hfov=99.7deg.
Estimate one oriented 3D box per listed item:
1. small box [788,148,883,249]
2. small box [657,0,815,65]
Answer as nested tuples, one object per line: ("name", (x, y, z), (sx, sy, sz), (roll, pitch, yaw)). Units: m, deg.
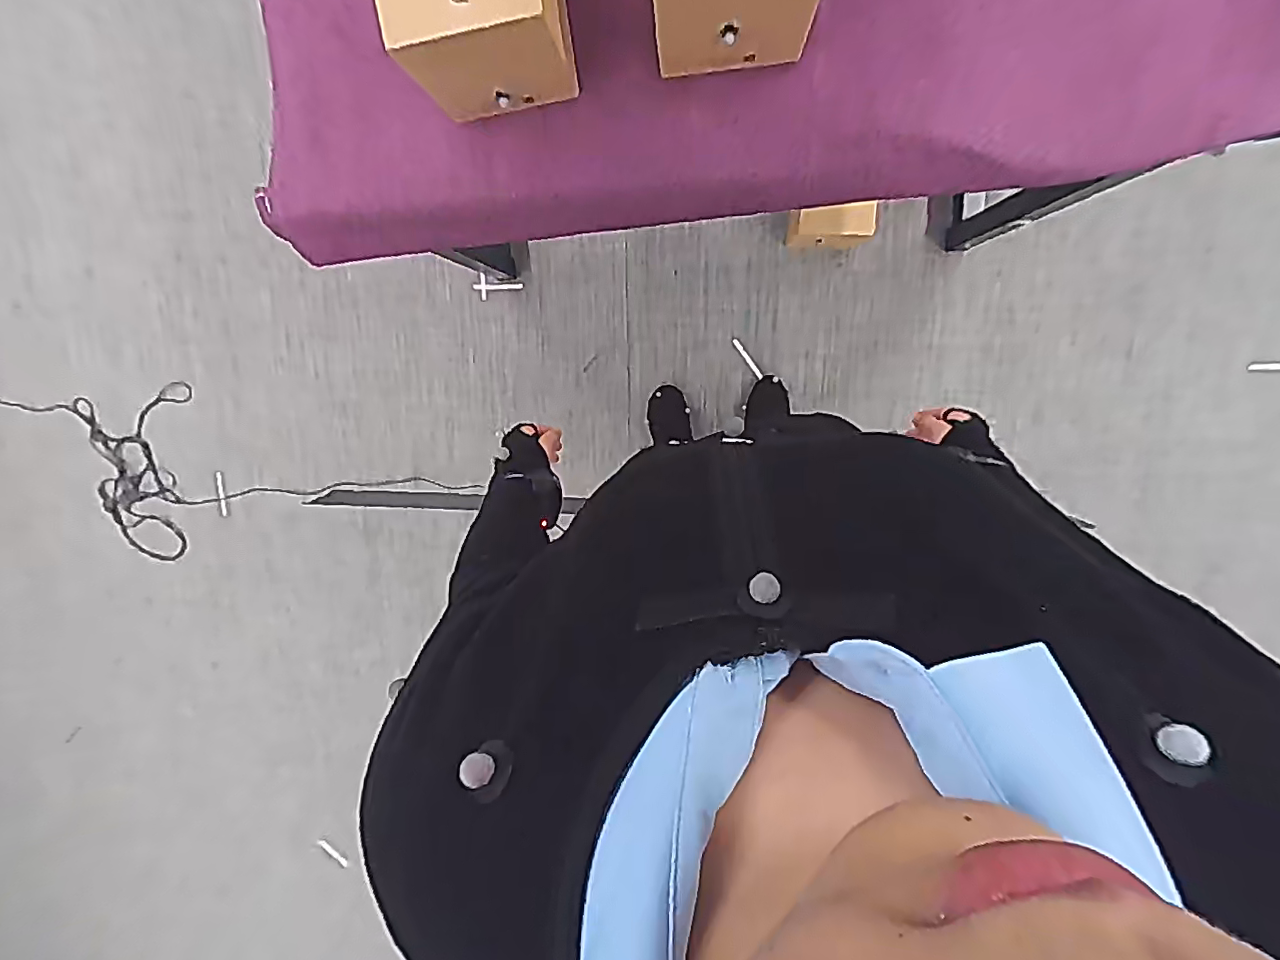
("small box", (0.445, -0.646, 1.258), (0.168, 0.176, 0.179), (4, 102, 5))
("small box", (0.098, -0.566, 0.558), (0.168, 0.176, 0.179), (-2, 100, 5))
